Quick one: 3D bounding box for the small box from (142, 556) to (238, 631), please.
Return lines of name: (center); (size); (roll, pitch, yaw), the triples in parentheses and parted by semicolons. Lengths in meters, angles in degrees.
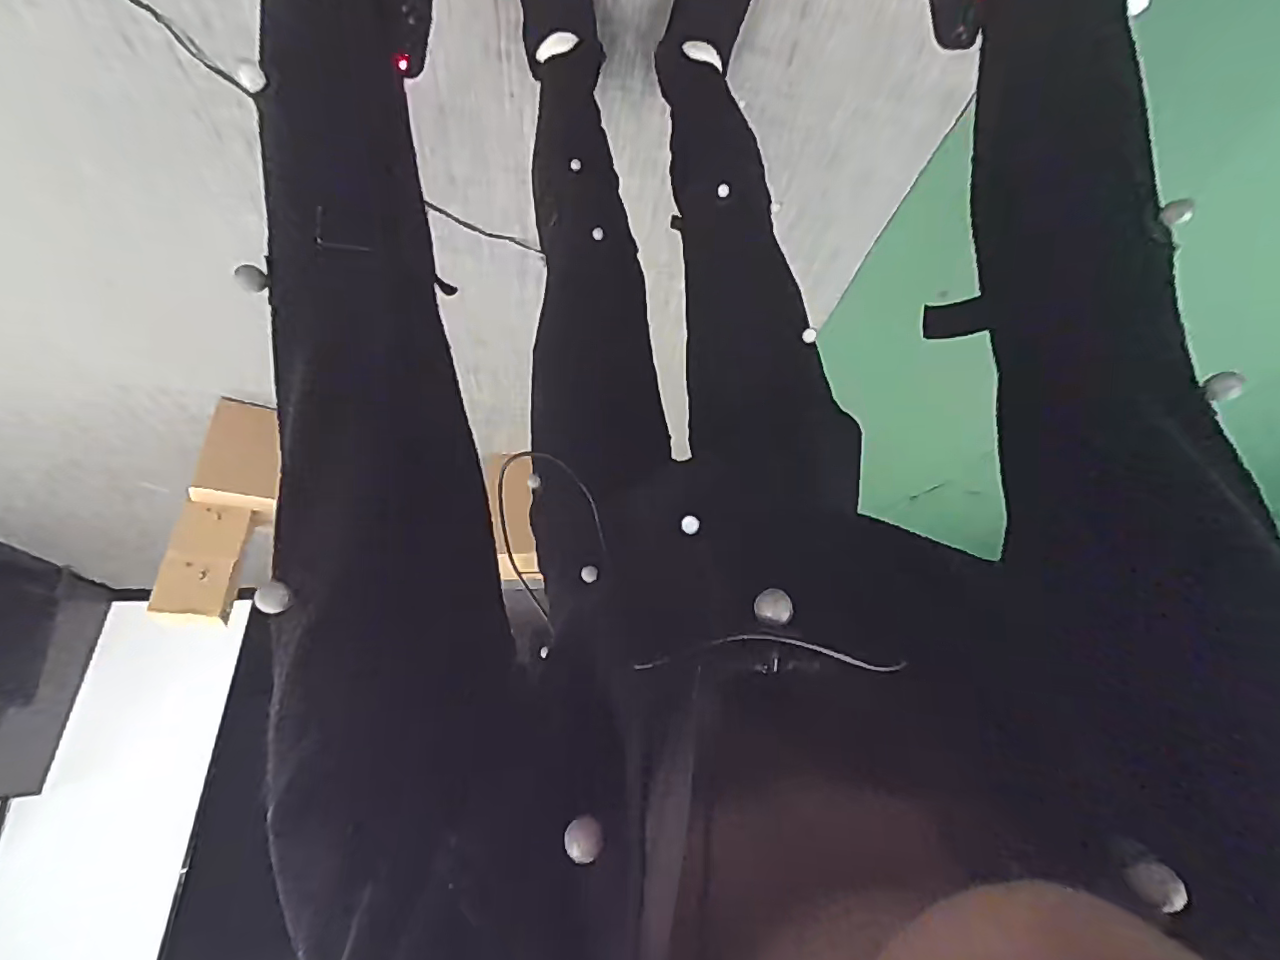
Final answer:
small box: (-1.297, 0.333, 1.573); (0.168, 0.176, 0.179); (12, 150, -26)
